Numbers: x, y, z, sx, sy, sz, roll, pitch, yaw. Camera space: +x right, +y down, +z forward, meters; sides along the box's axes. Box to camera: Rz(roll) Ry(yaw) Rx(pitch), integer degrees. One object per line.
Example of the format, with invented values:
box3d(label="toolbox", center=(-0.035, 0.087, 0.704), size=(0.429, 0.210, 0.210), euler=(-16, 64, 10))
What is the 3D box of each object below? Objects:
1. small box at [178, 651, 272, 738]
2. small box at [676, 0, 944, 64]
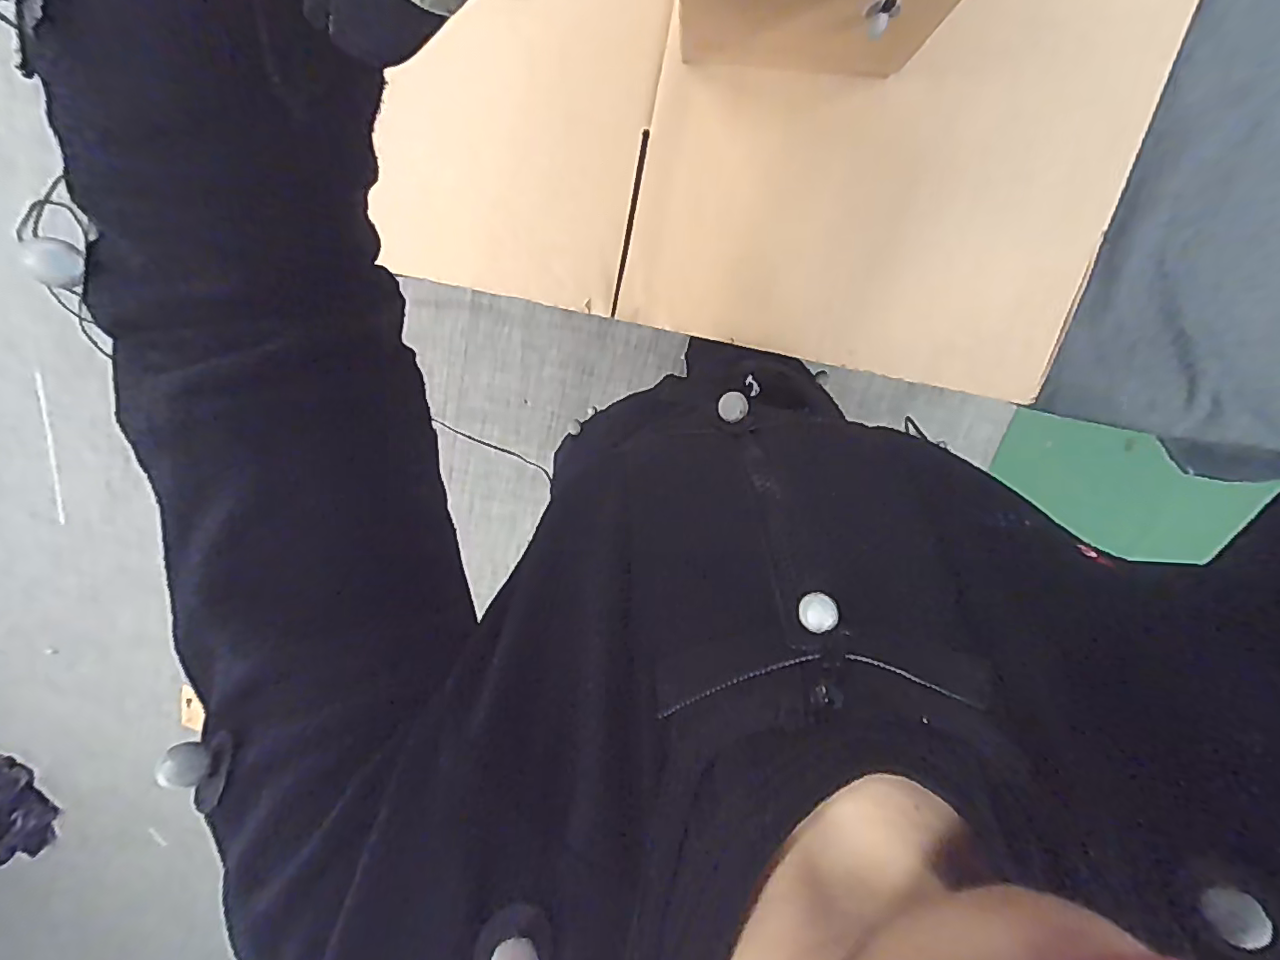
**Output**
box3d(label="small box", center=(-1.295, 0.666, 1.695), size=(0.179, 0.176, 0.168), euler=(17, 109, -2))
box3d(label="small box", center=(0.116, -0.385, 0.326), size=(0.179, 0.176, 0.168), euler=(5, 105, 3))
